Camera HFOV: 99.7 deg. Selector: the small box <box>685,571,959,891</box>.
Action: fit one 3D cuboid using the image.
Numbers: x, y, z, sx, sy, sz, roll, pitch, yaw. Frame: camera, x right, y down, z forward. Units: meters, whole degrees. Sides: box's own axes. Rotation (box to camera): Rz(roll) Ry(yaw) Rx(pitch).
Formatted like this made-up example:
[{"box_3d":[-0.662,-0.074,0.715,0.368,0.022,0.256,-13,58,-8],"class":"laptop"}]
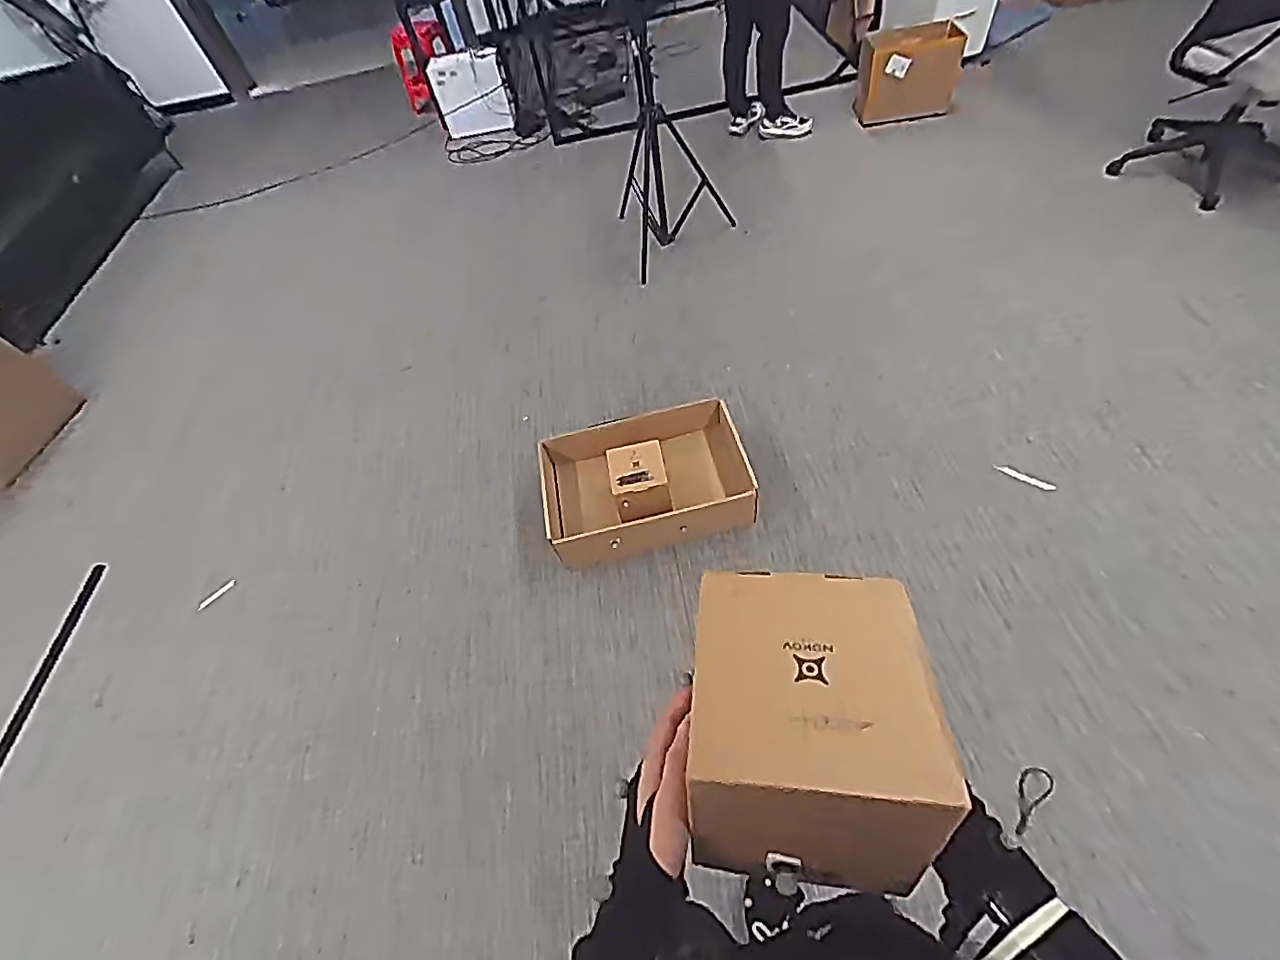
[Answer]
[{"box_3d":[0.126,0.198,0.444,0.168,0.176,0.179,0,39,9],"class":"small box"}]
